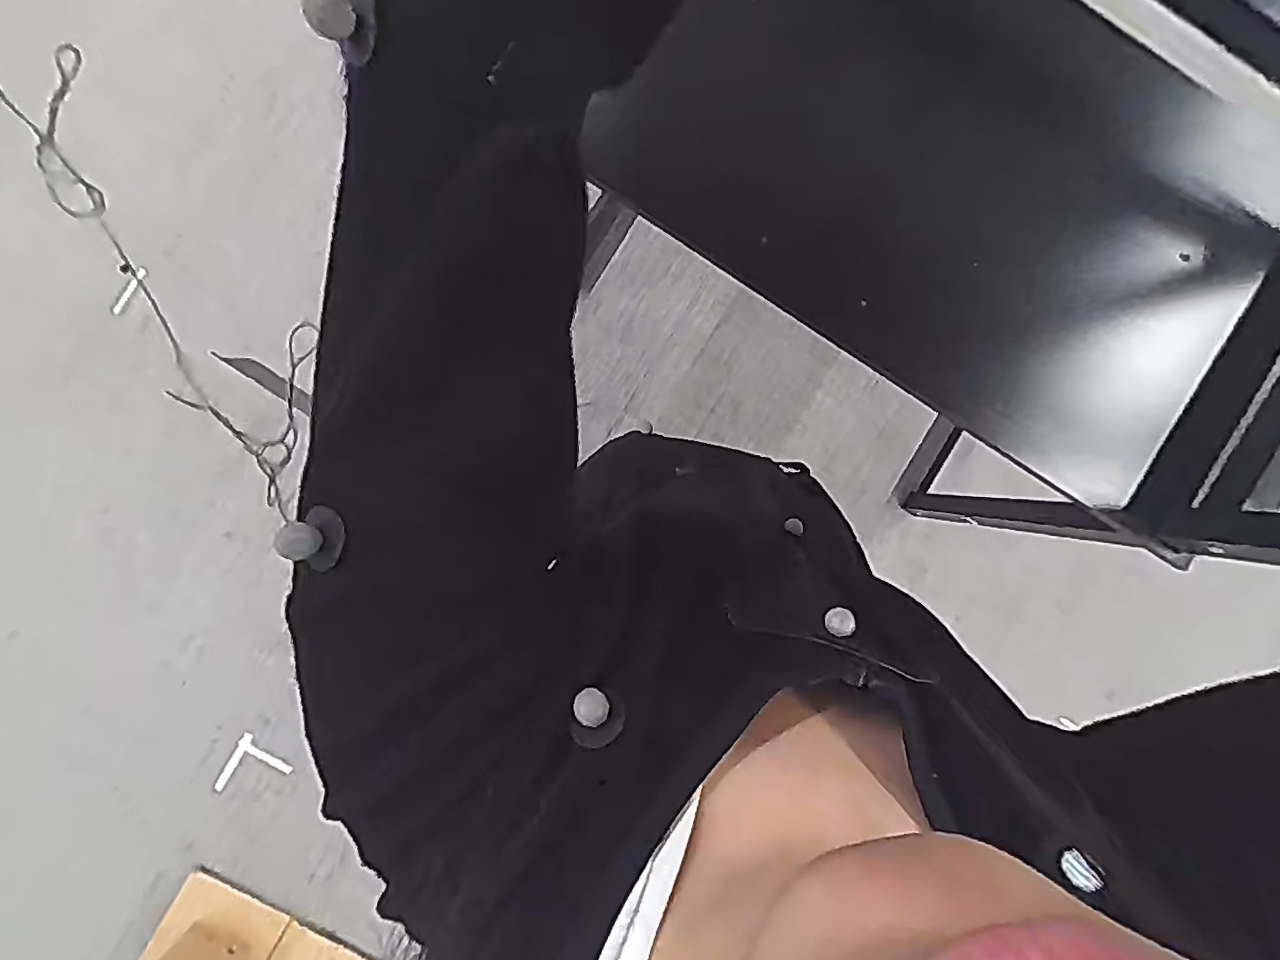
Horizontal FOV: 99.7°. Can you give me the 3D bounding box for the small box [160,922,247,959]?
[{"bbox_3d":[-1.147,1.282,1.365,0.168,0.176,0.179,27,90,-3],"label":"small box"}]
